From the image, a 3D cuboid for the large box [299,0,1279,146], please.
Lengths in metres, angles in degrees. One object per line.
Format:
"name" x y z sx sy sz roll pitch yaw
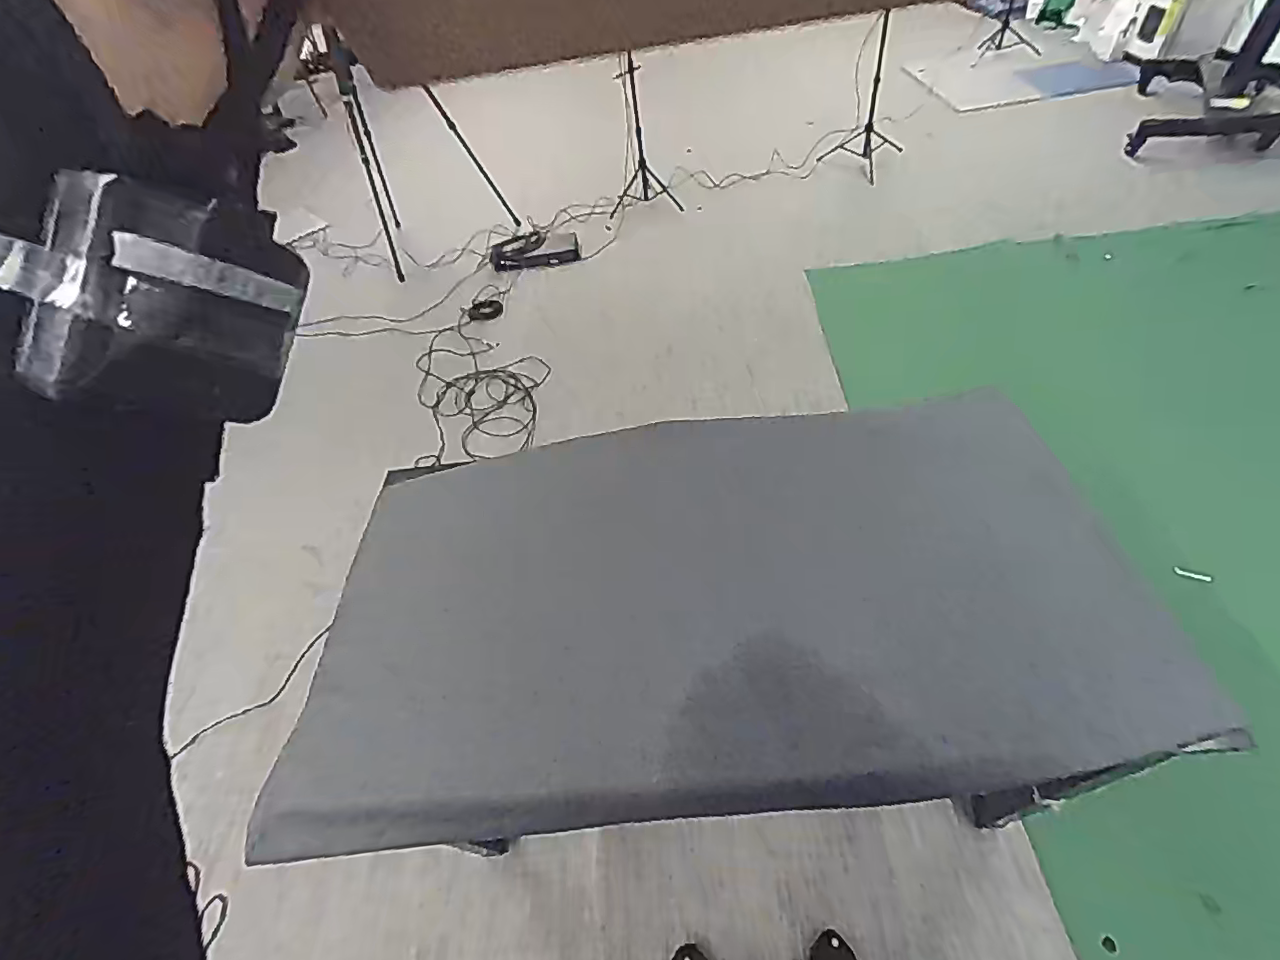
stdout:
"large box" 0.059 -0.342 0.113 0.408 0.320 0.320 -5 77 5
